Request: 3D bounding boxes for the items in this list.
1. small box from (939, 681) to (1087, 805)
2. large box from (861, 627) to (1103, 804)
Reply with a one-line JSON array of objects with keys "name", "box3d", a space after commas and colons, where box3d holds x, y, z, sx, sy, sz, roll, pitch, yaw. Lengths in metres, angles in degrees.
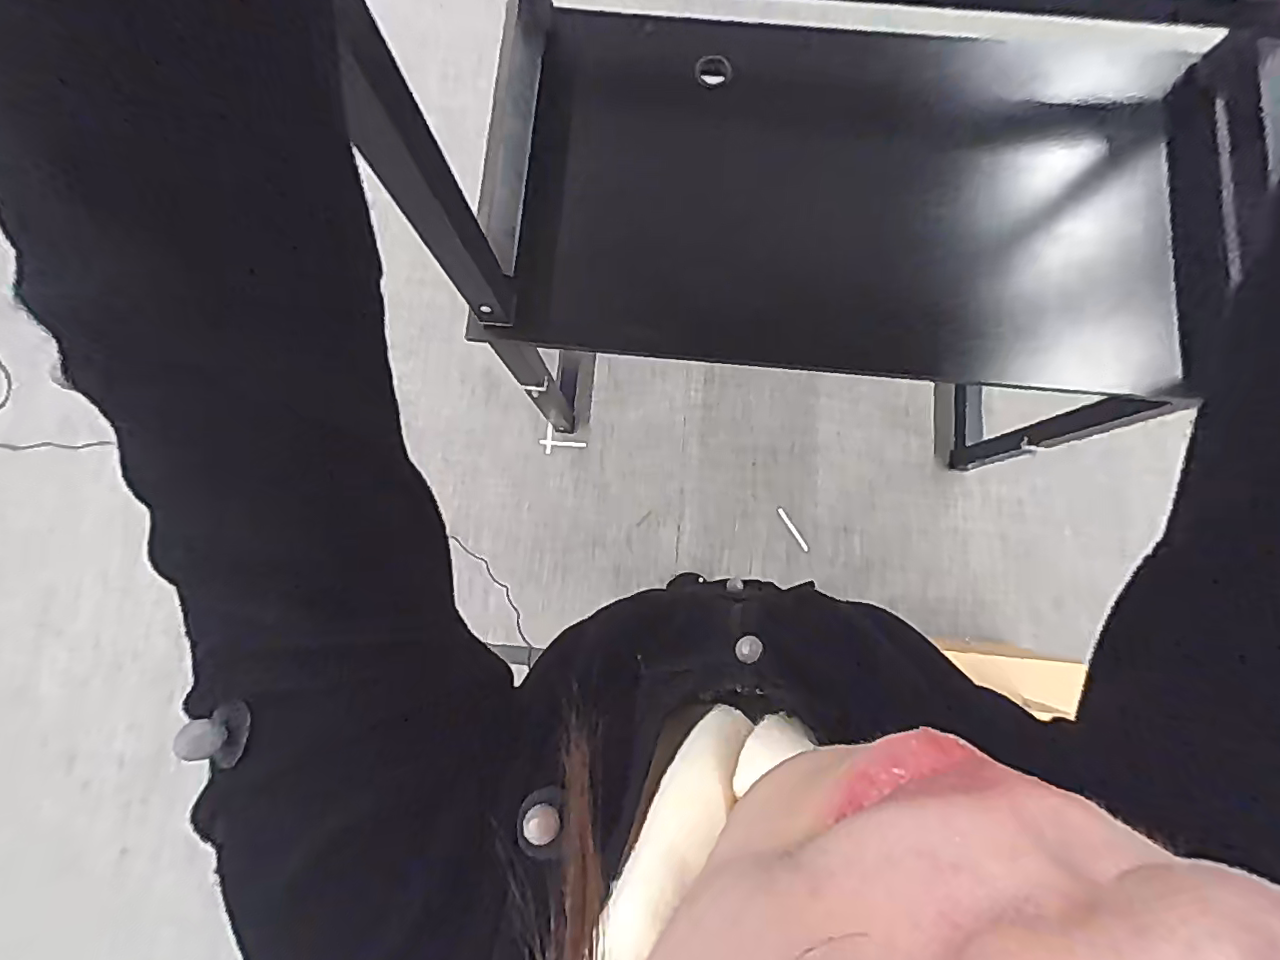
[{"name": "small box", "box3d": [0.728, 0.508, 1.069, 0.179, 0.176, 0.168, 9, 82, 2]}, {"name": "large box", "box3d": [0.792, 0.541, 1.311, 0.408, 0.320, 0.320, 5, 83, 0]}]
